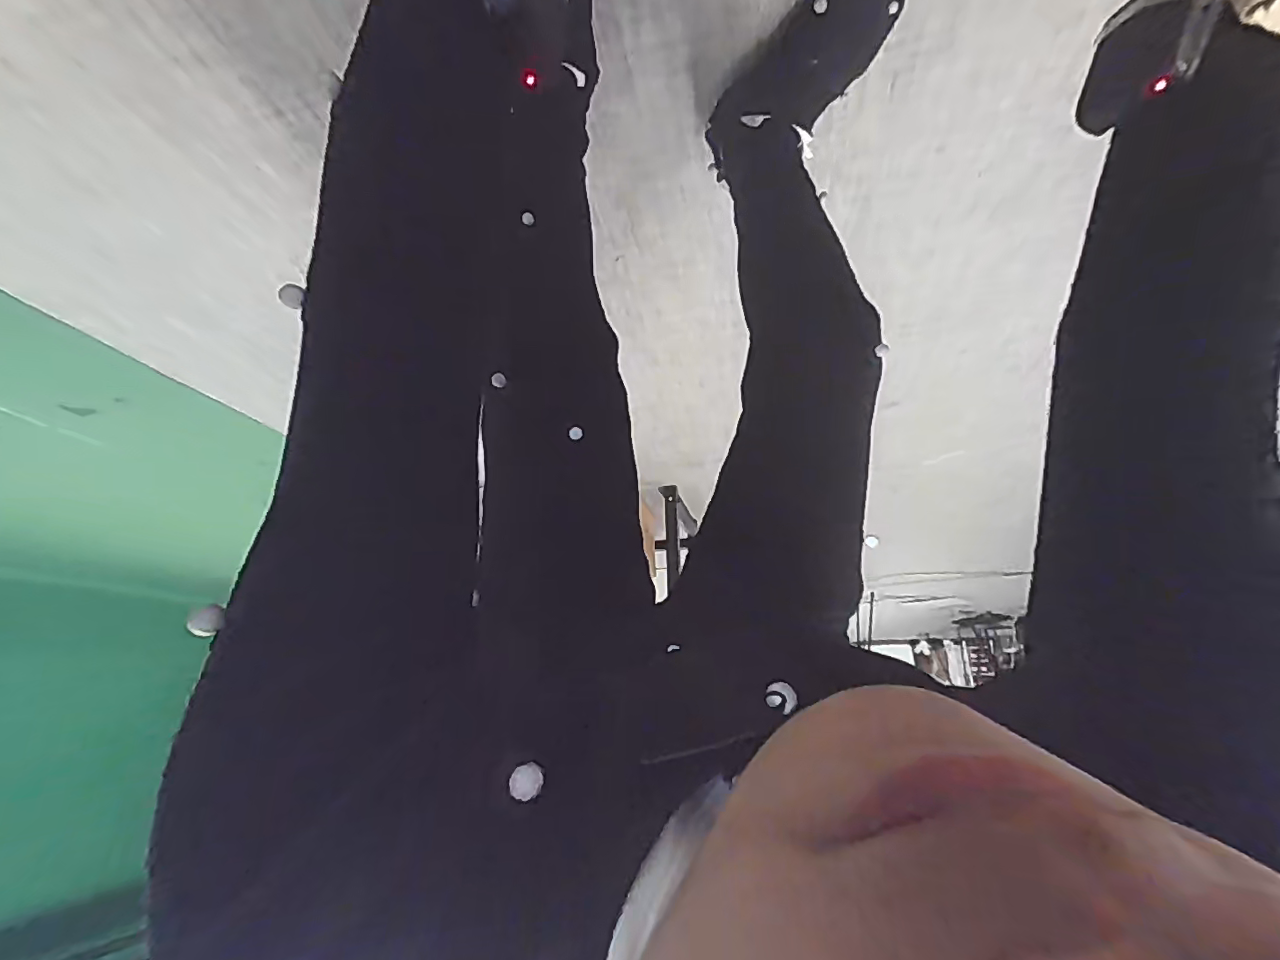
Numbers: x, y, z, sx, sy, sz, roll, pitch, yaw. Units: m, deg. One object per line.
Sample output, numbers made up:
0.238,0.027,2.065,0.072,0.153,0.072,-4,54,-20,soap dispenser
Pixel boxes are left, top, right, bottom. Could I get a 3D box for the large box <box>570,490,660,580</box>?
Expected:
-0.105,0.260,2.461,0.320,0.320,0.408,-5,159,13,large box
